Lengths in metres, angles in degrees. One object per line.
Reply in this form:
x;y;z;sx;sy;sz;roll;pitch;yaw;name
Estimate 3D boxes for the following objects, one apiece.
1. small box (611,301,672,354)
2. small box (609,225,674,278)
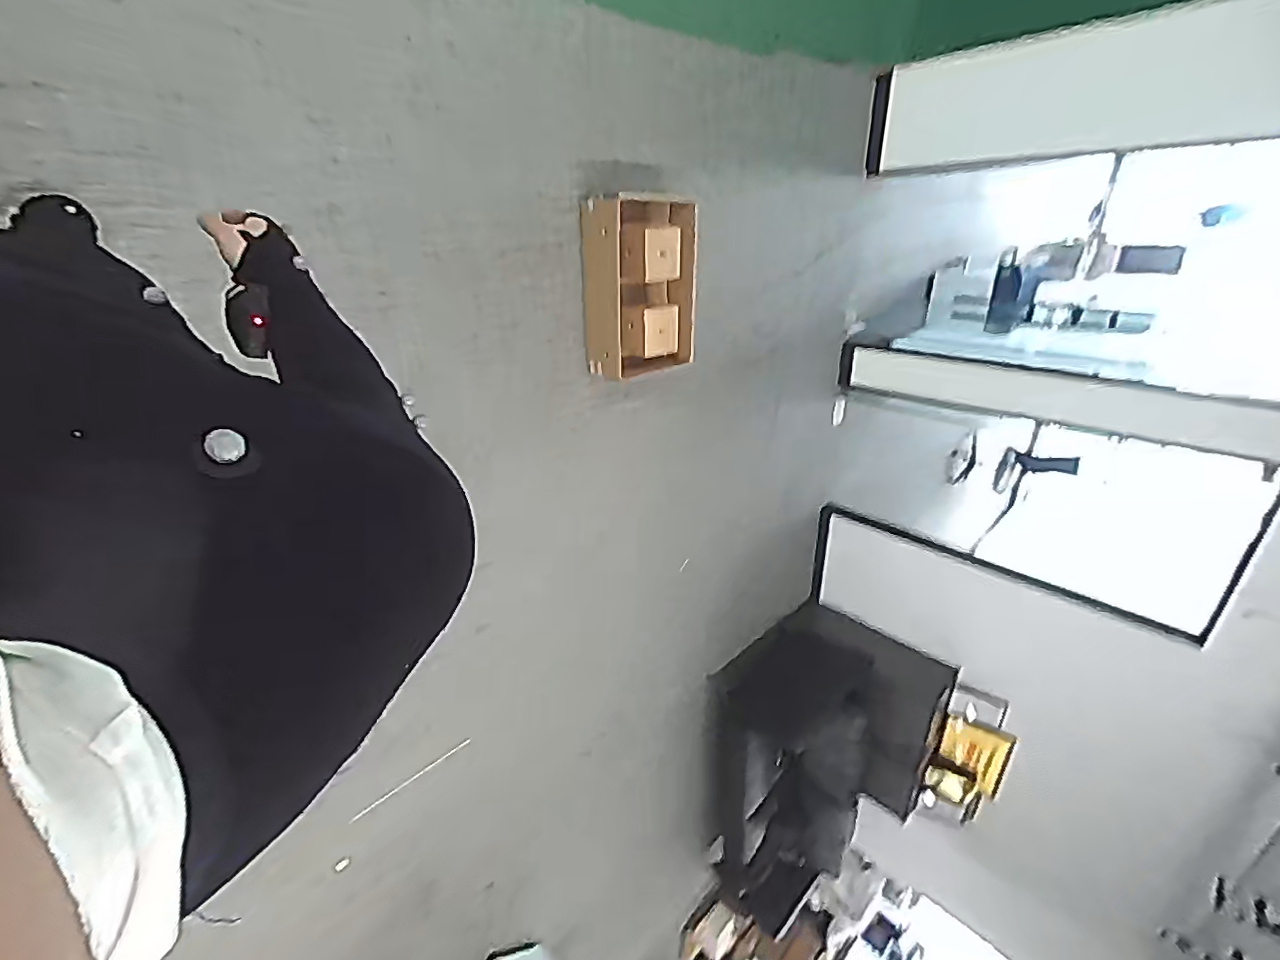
0.002;-0.579;2.039;0.179;0.176;0.168;-23;123;-39;small box
0.003;-0.816;1.927;0.179;0.176;0.168;-24;125;-38;small box
